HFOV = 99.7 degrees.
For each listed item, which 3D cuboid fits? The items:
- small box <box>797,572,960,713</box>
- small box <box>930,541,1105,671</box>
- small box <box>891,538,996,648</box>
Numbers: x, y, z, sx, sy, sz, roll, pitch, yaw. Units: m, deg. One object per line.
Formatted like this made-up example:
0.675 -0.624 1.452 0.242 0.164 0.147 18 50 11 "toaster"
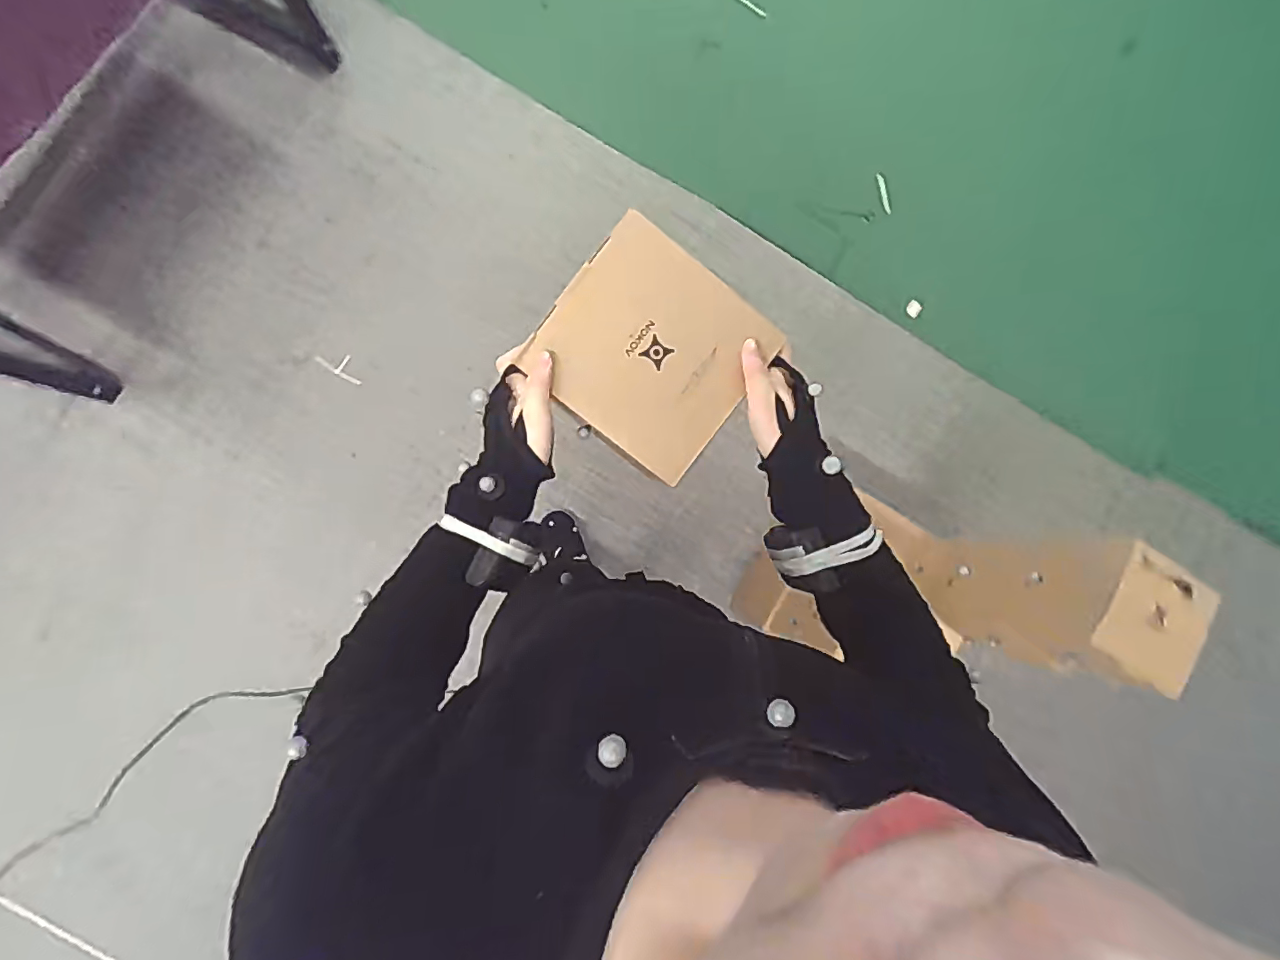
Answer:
0.424 0.282 0.988 0.179 0.176 0.168 36 84 -2 "small box"
0.704 0.225 1.025 0.179 0.176 0.168 34 82 -4 "small box"
0.697 0.237 1.190 0.179 0.176 0.168 32 82 -5 "small box"
